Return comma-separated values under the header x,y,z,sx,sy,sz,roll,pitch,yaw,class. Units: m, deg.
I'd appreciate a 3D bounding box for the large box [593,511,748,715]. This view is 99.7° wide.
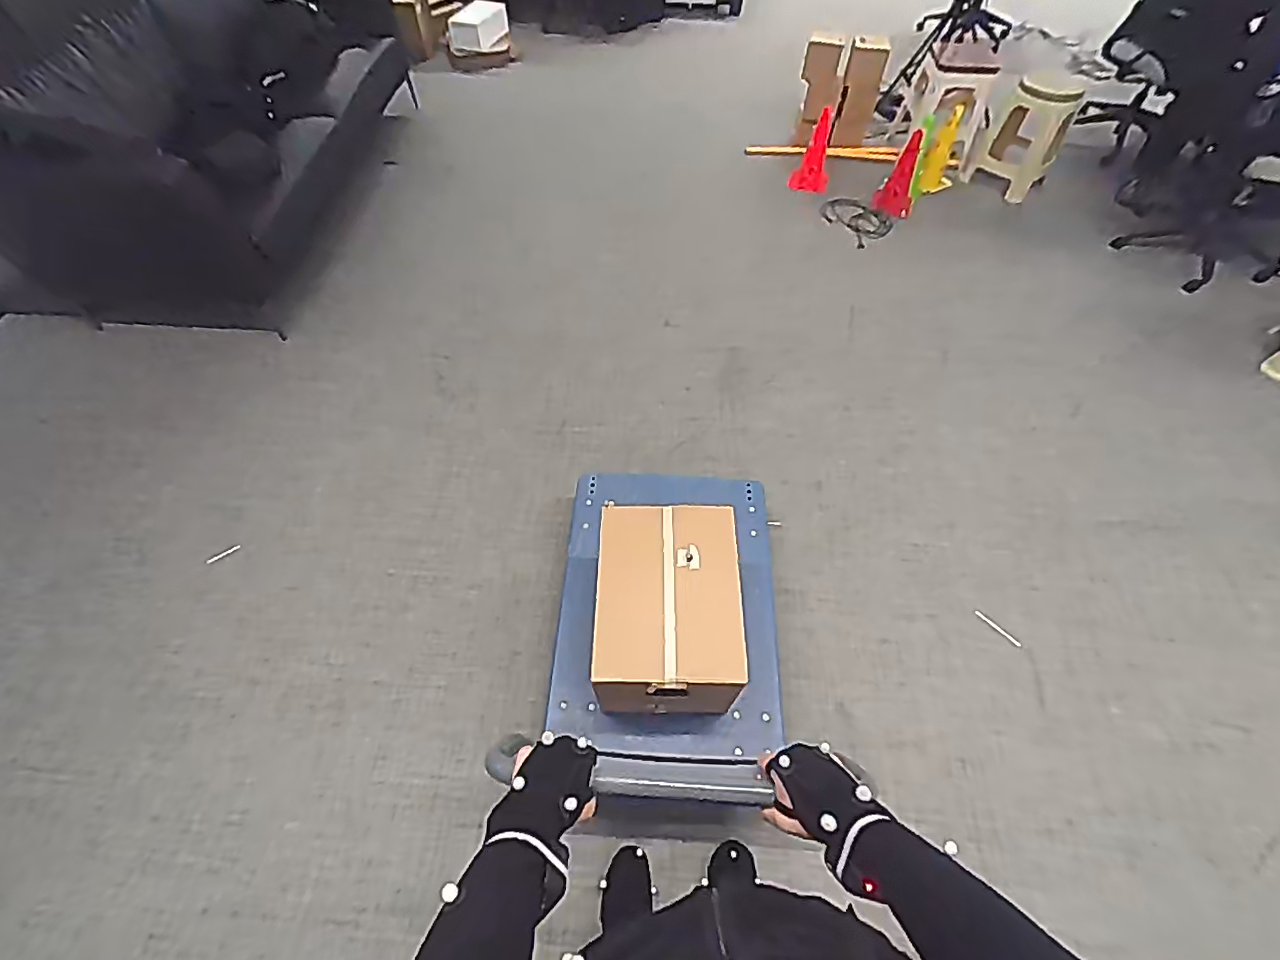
x,y,z,sx,sy,sz,roll,pitch,yaw,class
0.064,0.325,1.301,0.320,0.320,0.408,0,57,1,large box
